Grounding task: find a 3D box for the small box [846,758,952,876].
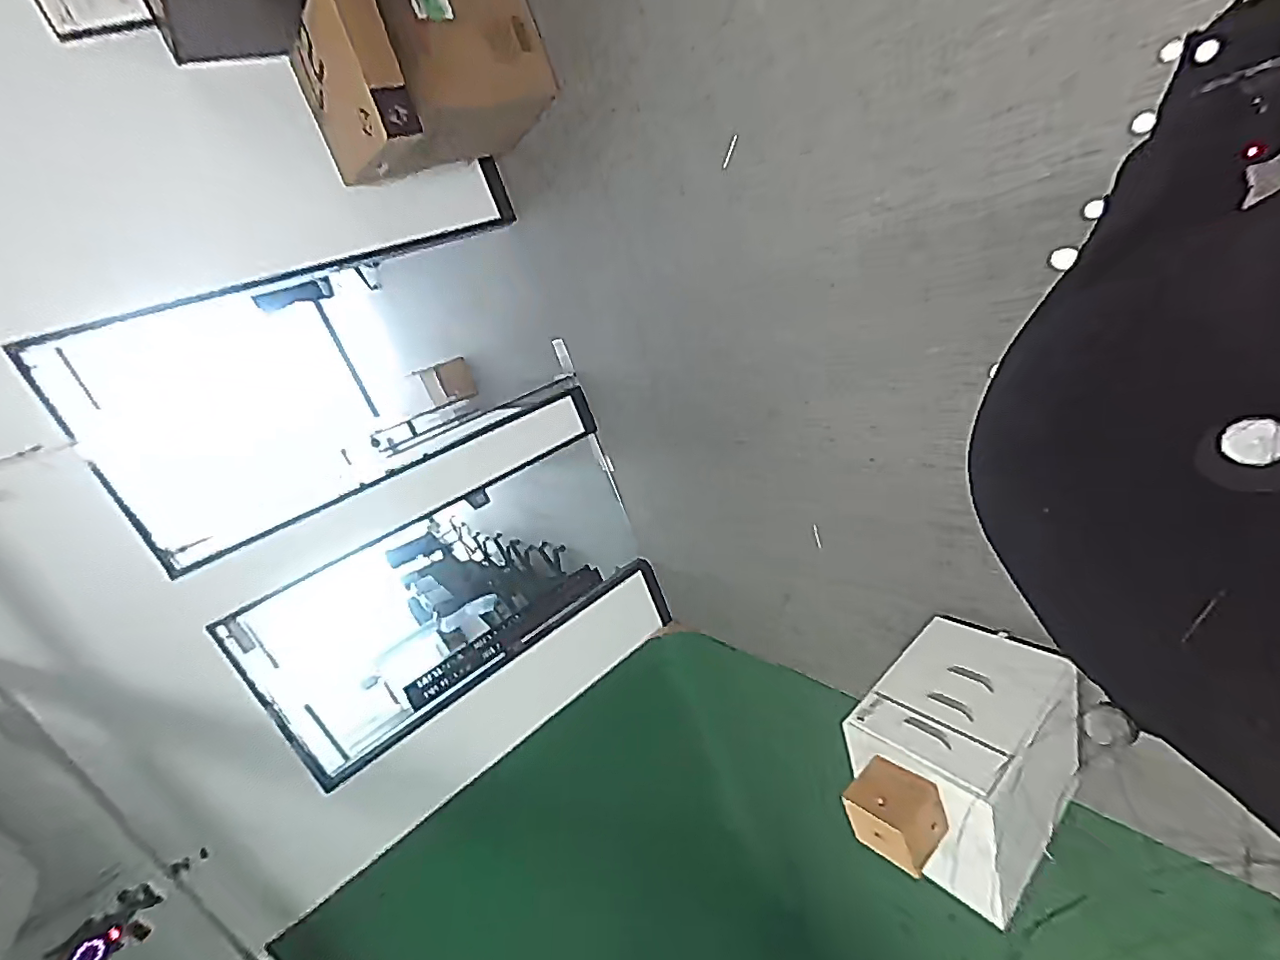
[{"bbox_3d":[0.686,0.878,1.433,0.179,0.176,0.168,2,119,57],"label":"small box"}]
